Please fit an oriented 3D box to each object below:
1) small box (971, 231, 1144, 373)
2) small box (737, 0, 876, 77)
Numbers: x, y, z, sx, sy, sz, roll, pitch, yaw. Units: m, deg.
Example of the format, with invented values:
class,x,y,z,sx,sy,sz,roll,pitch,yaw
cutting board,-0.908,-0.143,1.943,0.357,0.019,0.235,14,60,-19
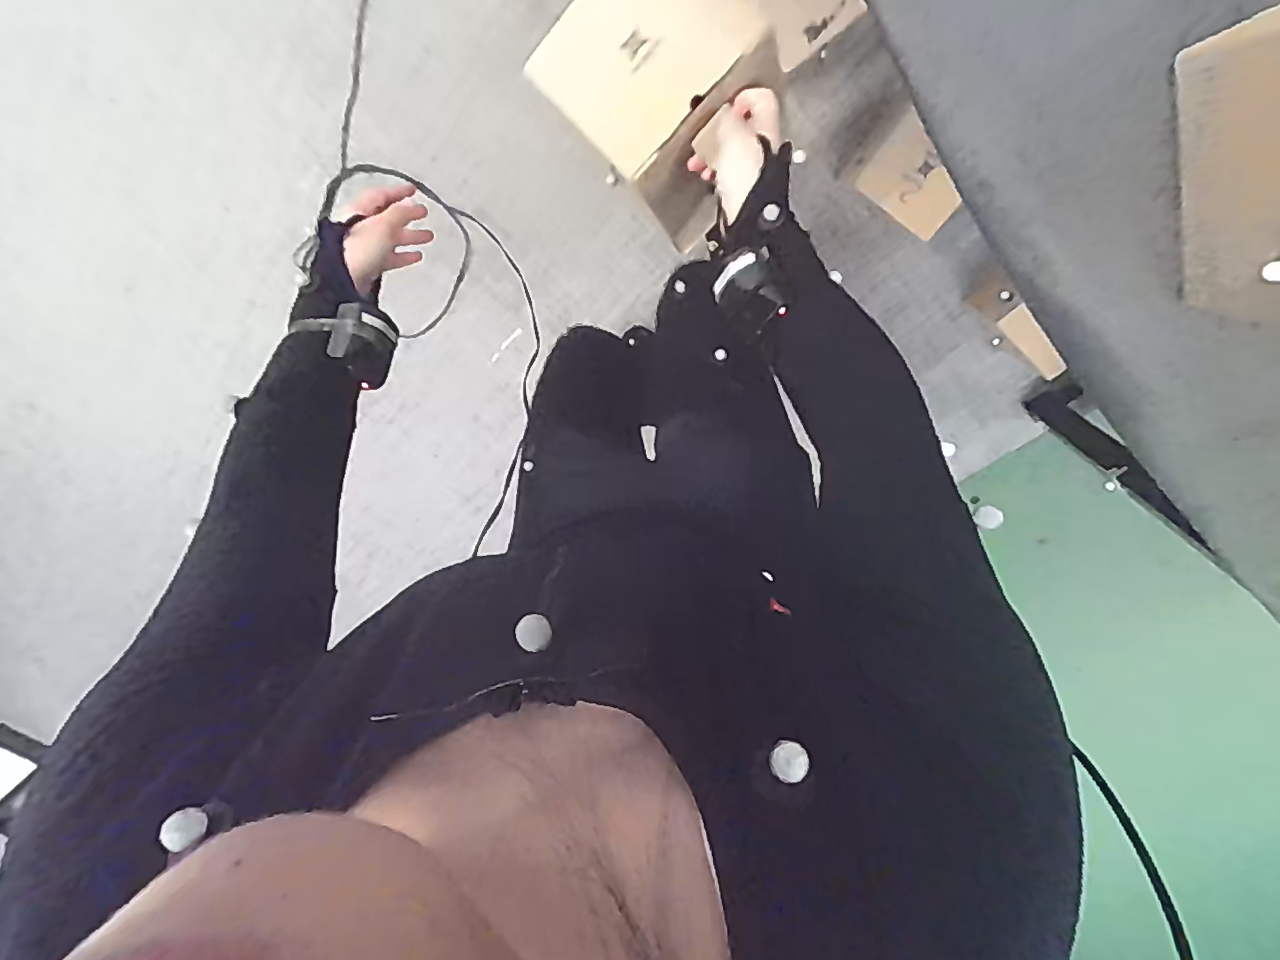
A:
class,x,y,z,sx,sy,sz,roll,pitch,yaw
small box,0.762,-0.338,1.016,0.168,0.176,0.179,37,119,-14
small box,0.250,-0.773,0.840,0.168,0.176,0.179,-28,112,22
